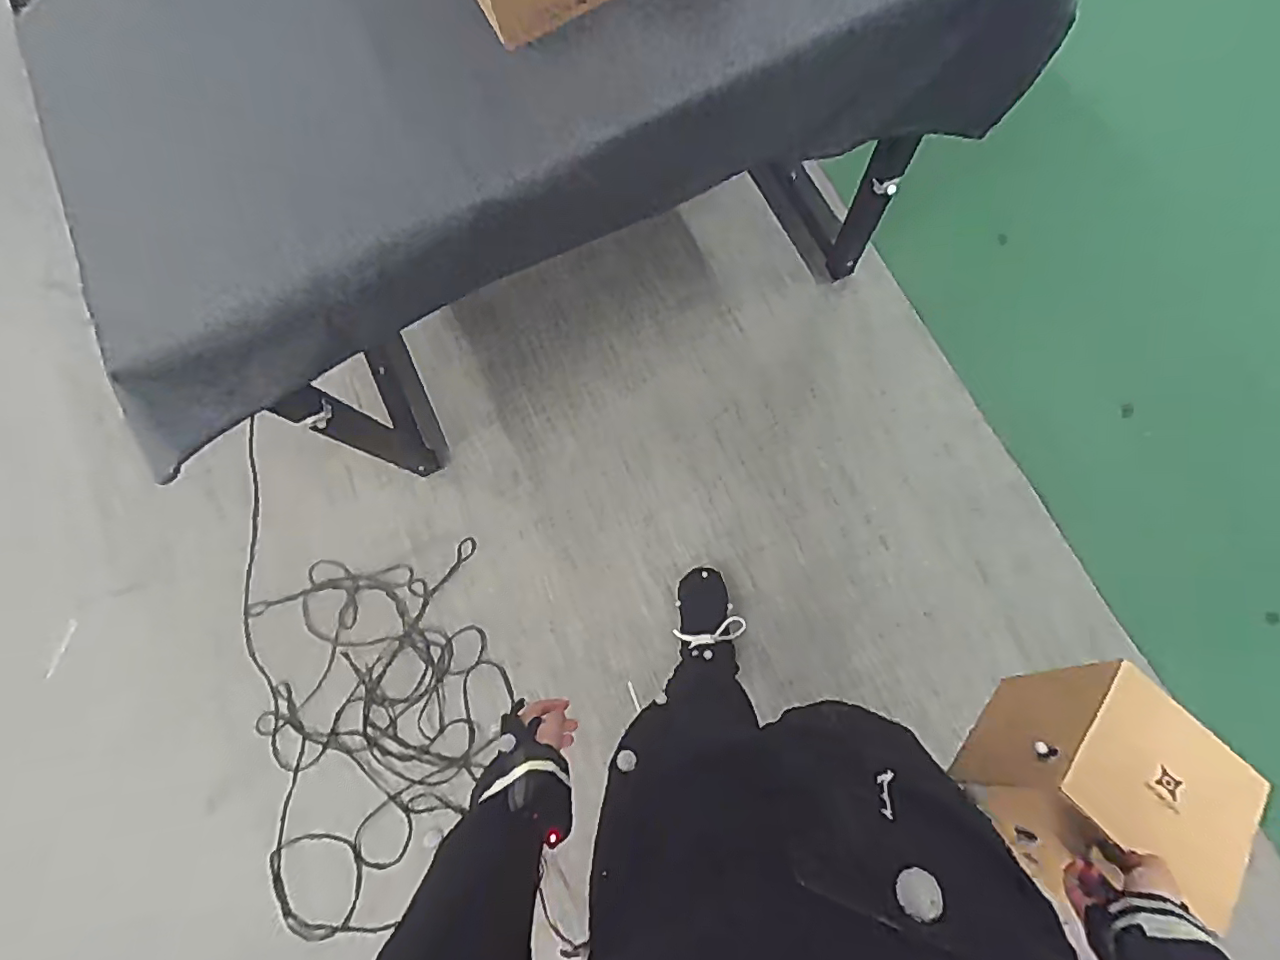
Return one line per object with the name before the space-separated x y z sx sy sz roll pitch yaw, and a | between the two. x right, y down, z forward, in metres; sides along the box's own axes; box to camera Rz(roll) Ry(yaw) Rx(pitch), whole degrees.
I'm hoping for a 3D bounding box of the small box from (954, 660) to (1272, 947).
small box | 0.482 0.321 0.576 0.179 0.176 0.168 -40 77 -23
